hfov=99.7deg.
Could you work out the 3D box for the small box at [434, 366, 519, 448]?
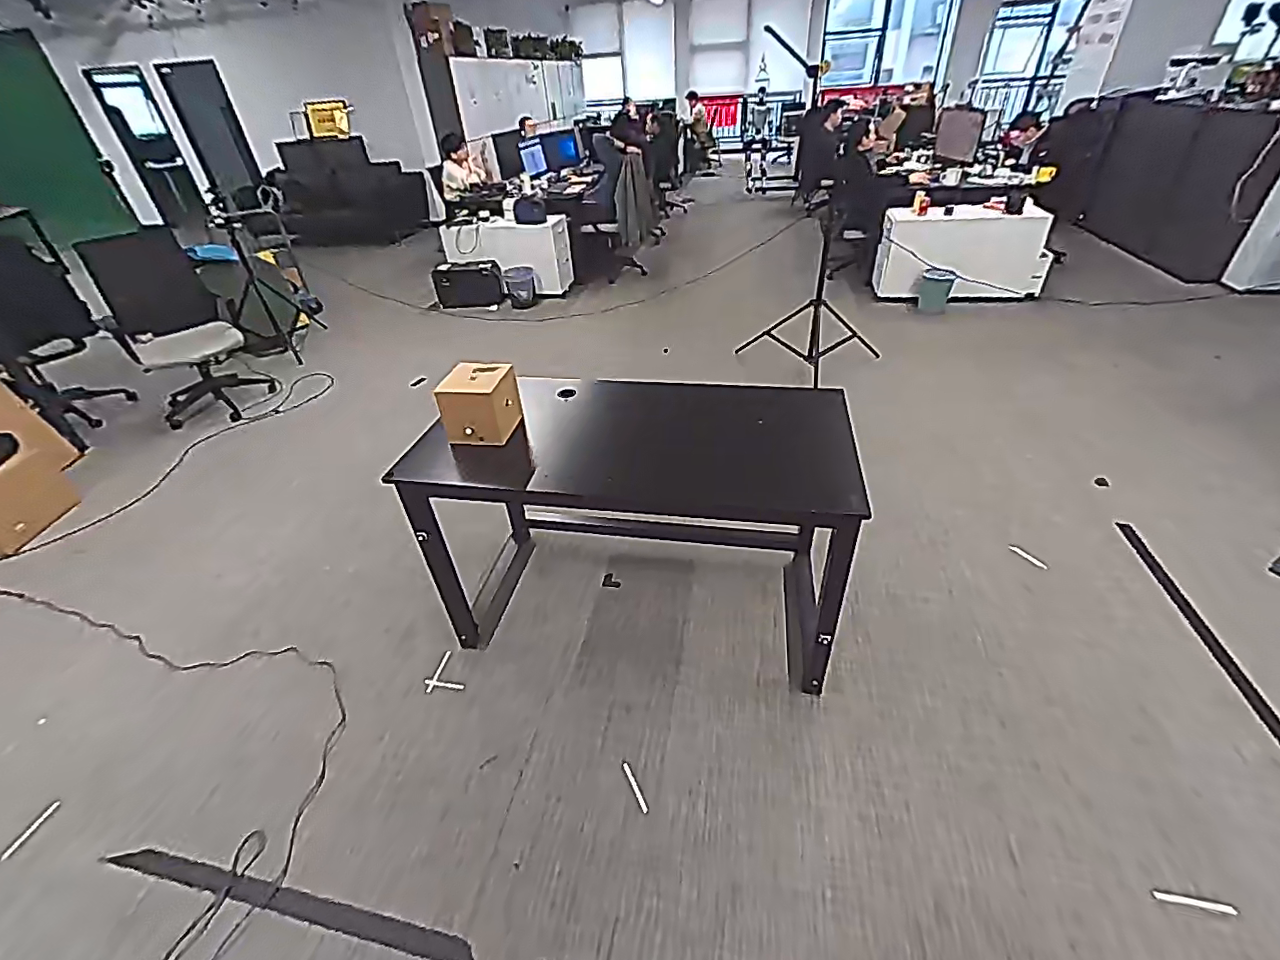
[{"bbox_3d":[-0.454,-0.210,1.536,0.168,0.176,0.179,3,38,9],"label":"small box"}]
